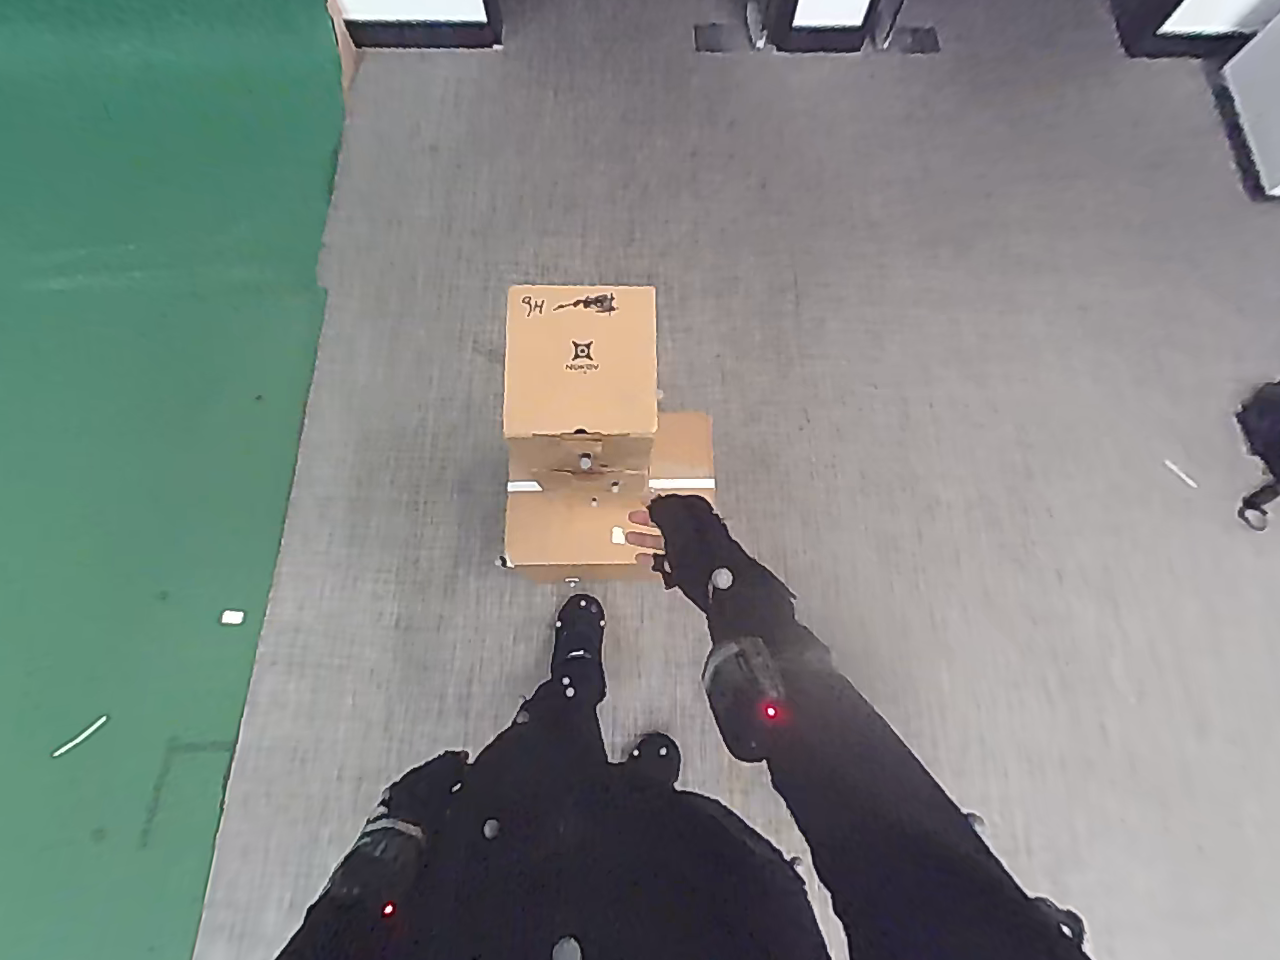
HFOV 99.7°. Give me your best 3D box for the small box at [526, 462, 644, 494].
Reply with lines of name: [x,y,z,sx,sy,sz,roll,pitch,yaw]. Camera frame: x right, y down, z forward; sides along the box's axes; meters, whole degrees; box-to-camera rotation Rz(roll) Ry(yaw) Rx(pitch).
small box: [-0.076,-0.075,0.832,0.168,0.176,0.179,0,78,-2]

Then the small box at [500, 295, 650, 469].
small box: [-0.071,-0.110,0.672,0.168,0.176,0.179,-1,80,-2]

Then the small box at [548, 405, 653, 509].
small box: [-0.069,-0.040,0.990,0.179,0.176,0.168,-1,80,-1]
